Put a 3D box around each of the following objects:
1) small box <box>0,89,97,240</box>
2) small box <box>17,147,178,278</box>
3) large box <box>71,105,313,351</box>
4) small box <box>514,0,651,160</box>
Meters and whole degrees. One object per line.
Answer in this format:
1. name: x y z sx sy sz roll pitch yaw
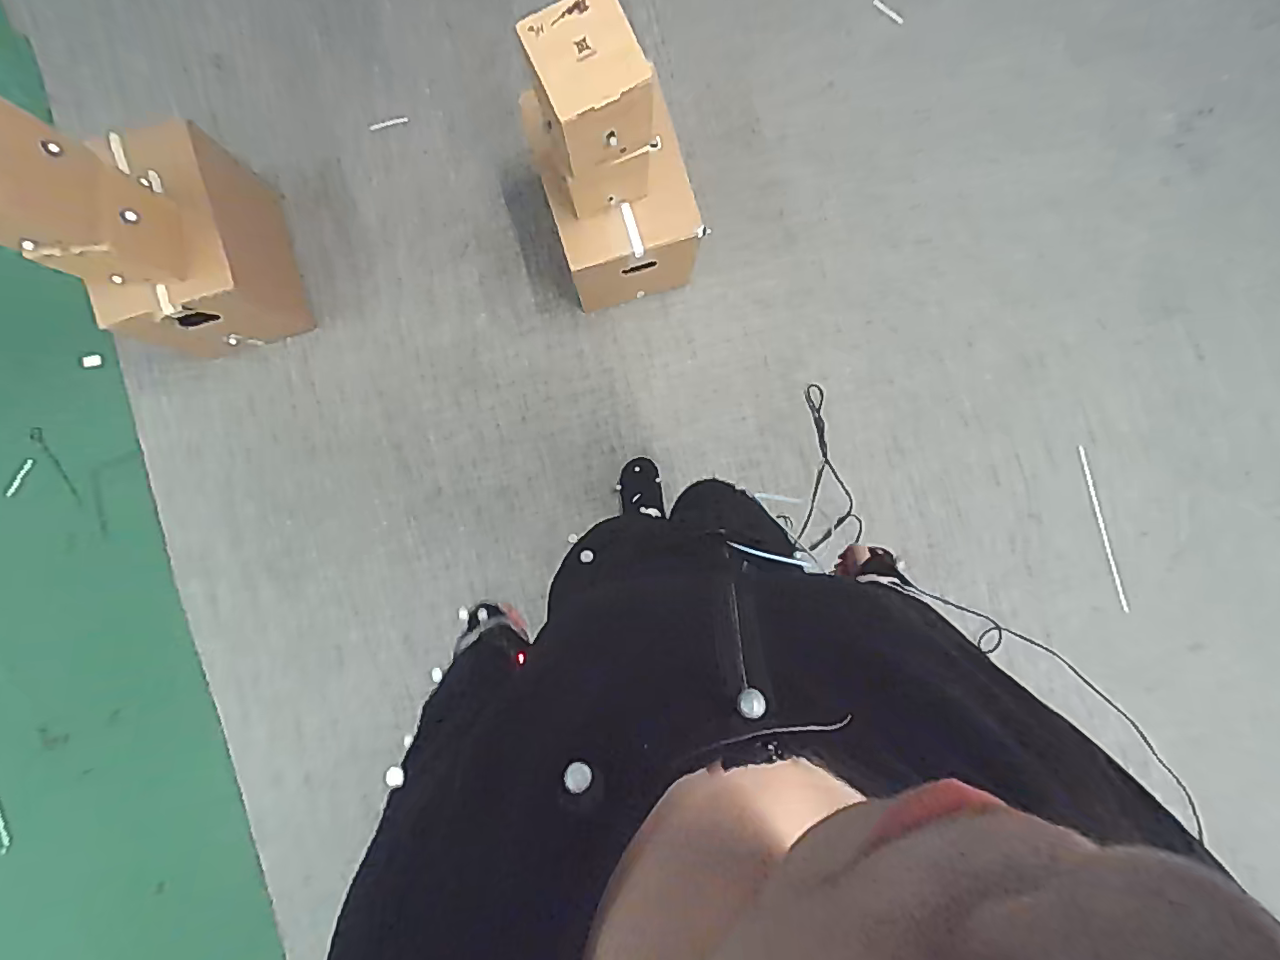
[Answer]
1. small box: -1.079 -0.526 0.912 0.168 0.176 0.179 -2 92 1
2. small box: -1.073 -0.522 1.074 0.168 0.176 0.179 -6 92 0
3. large box: -1.083 -0.579 1.316 0.320 0.320 0.408 -17 90 0
4. small box: -0.087 -0.684 0.919 0.168 0.176 0.179 -25 92 1
